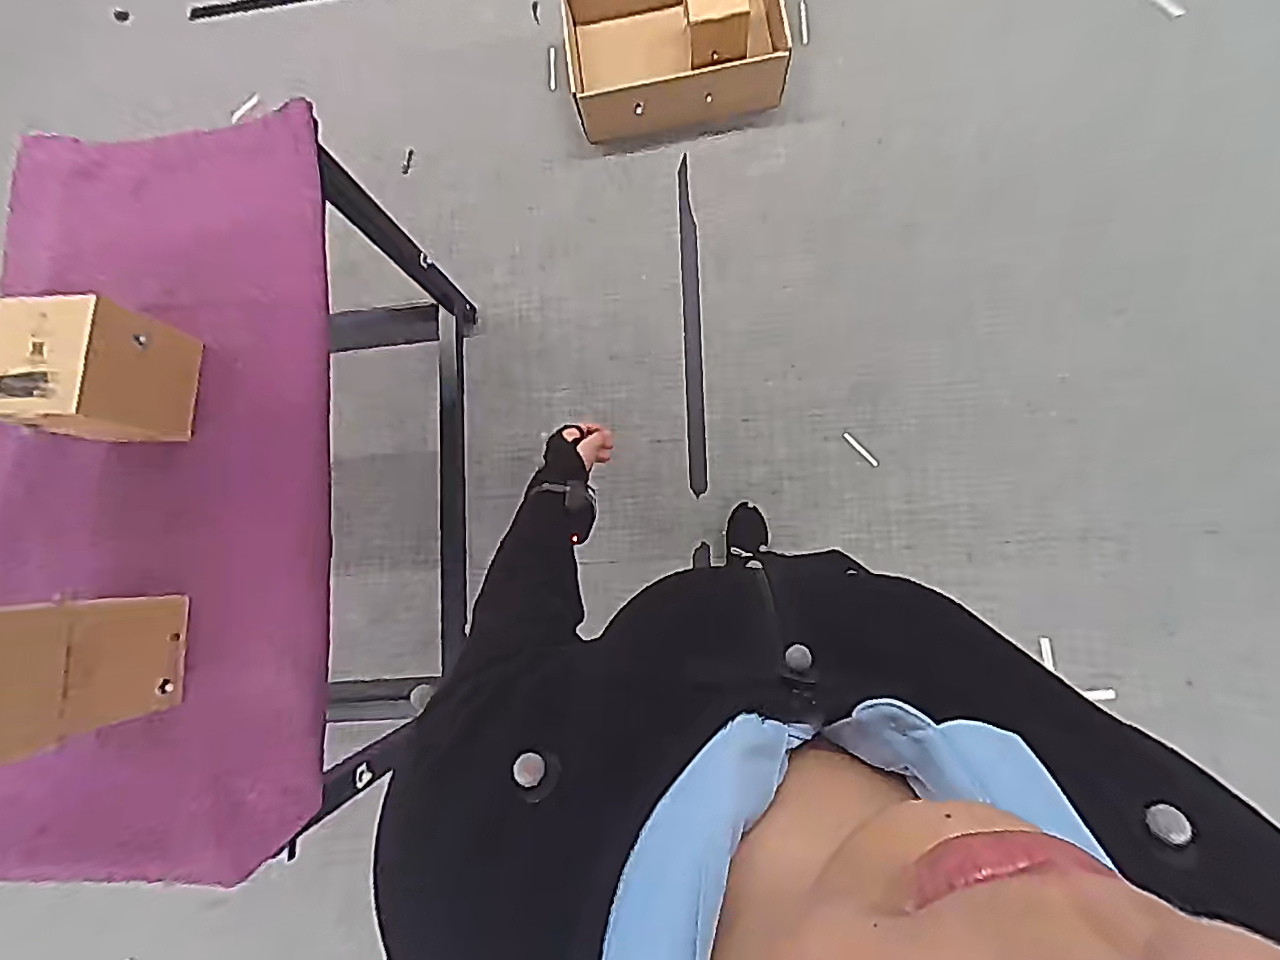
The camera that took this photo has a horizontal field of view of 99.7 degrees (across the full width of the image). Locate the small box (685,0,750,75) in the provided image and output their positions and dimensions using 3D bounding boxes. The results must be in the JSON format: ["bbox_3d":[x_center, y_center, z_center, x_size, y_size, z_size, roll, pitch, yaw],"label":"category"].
[{"bbox_3d":[0.219,-1.331,1.566,0.168,0.176,0.179,-8,81,6],"label":"small box"}]

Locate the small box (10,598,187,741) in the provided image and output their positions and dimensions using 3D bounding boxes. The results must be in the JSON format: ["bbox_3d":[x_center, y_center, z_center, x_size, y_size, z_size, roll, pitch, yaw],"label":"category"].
[{"bbox_3d":[-0.796,0.258,0.767,0.179,0.176,0.168,-3,81,6],"label":"small box"}]

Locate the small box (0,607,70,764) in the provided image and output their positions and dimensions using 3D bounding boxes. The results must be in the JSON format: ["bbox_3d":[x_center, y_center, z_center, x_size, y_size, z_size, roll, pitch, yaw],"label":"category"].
[{"bbox_3d":[-0.805,0.236,0.604,0.168,0.176,0.179,-4,81,6],"label":"small box"}]
